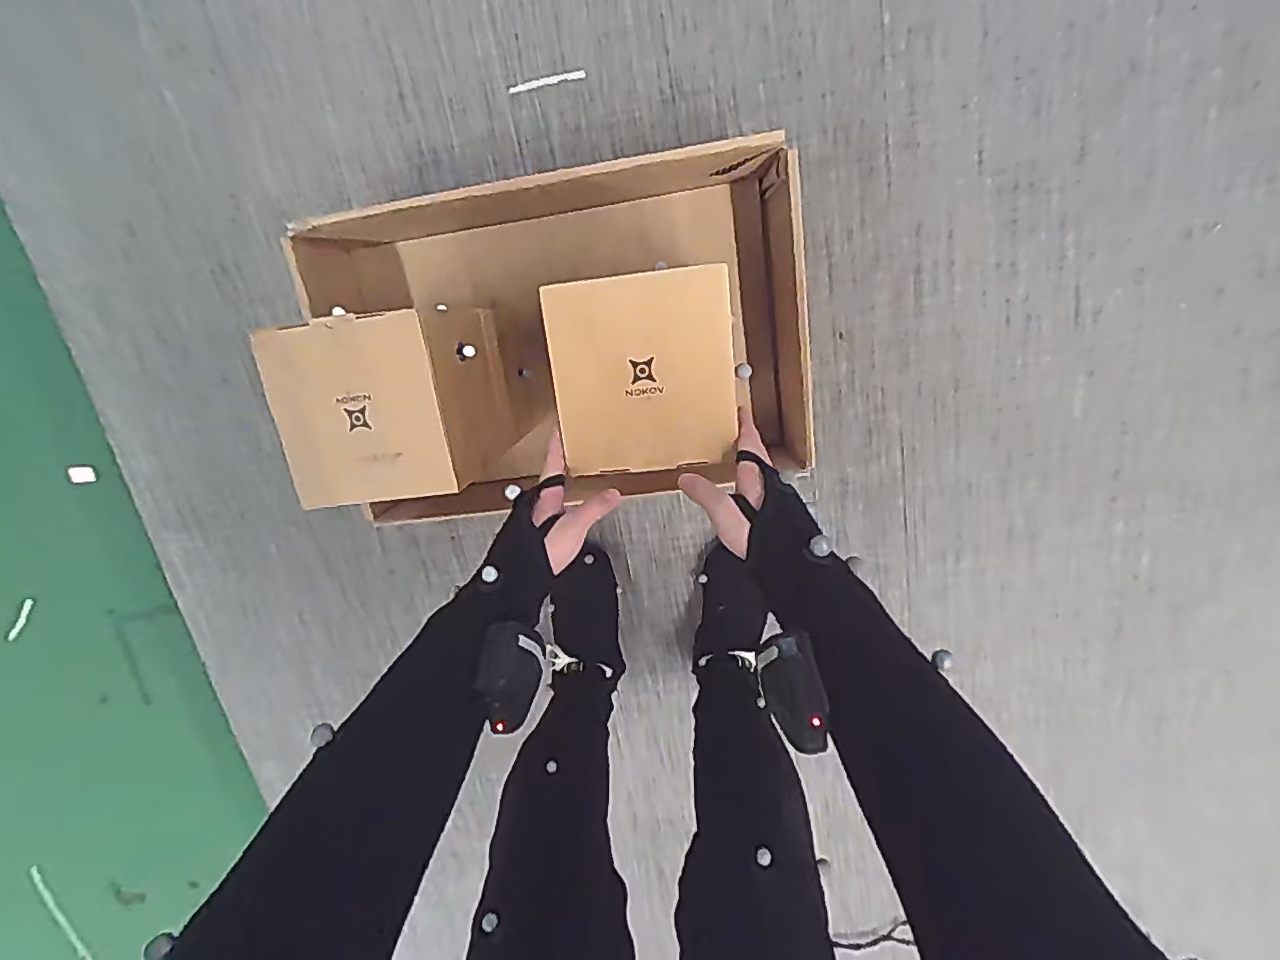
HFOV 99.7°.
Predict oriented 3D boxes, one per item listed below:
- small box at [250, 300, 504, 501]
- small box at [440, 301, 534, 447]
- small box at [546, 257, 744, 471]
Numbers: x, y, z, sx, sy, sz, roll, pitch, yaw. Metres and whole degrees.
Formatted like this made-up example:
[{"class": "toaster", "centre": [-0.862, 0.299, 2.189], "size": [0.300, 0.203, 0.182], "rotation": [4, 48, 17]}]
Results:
[{"class": "small box", "centre": [-0.259, -0.090, 0.579], "size": [0.168, 0.176, 0.179], "rotation": [-5, 107, 4]}, {"class": "small box", "centre": [-0.251, -0.139, 0.733], "size": [0.168, 0.176, 0.179], "rotation": [-5, 106, 5]}, {"class": "small box", "centre": [0.012, -0.119, 0.555], "size": [0.168, 0.176, 0.179], "rotation": [-5, 107, 6]}]
